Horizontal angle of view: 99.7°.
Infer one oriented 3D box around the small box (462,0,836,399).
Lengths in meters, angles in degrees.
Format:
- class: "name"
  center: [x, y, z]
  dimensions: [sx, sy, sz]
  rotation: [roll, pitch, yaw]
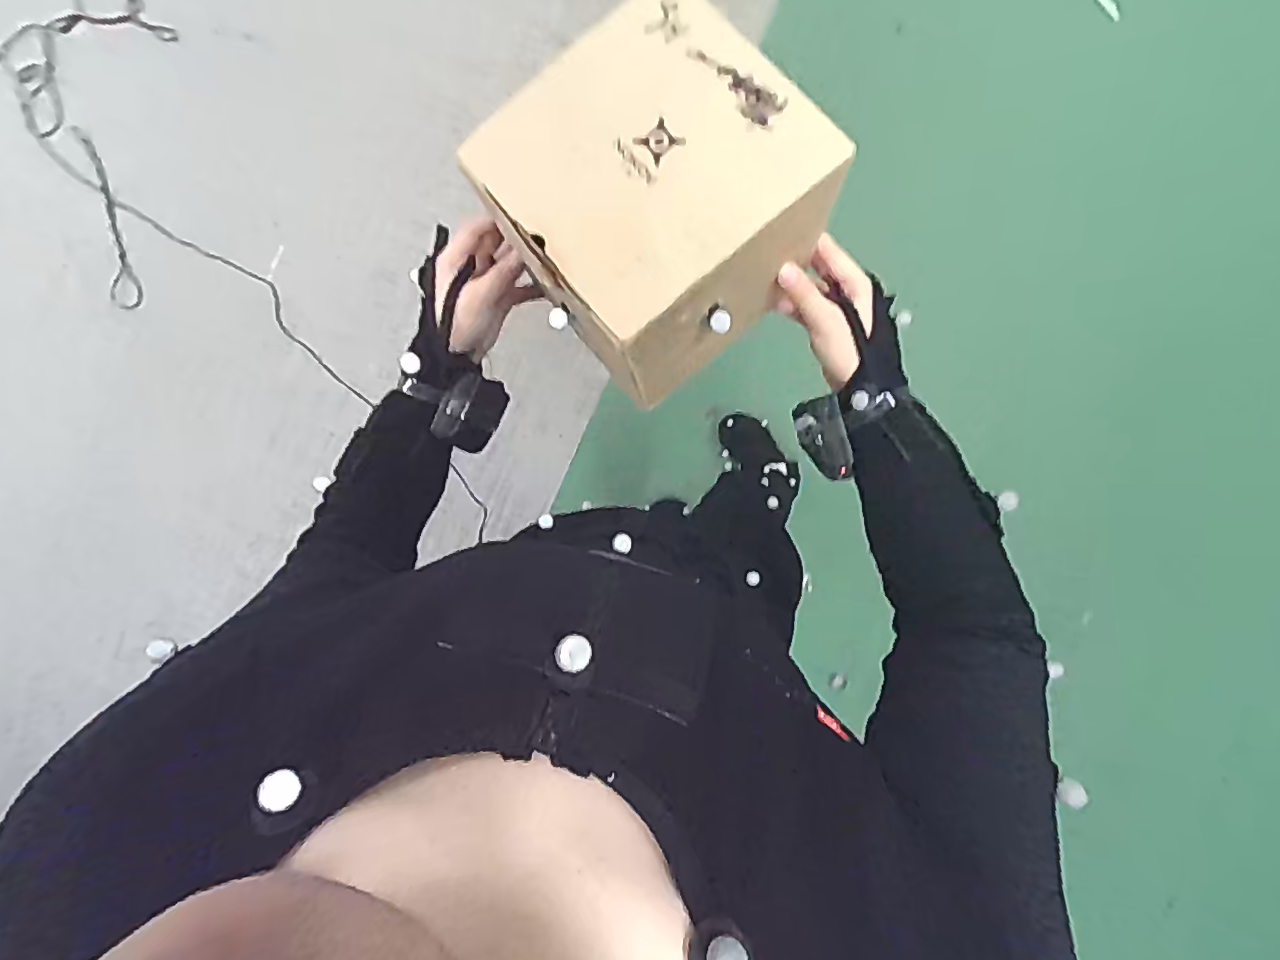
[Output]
- class: "small box"
  center: [0.011, -0.186, 0.407]
  dimensions: [0.179, 0.176, 0.168]
  rotation: [-41, 82, 1]
